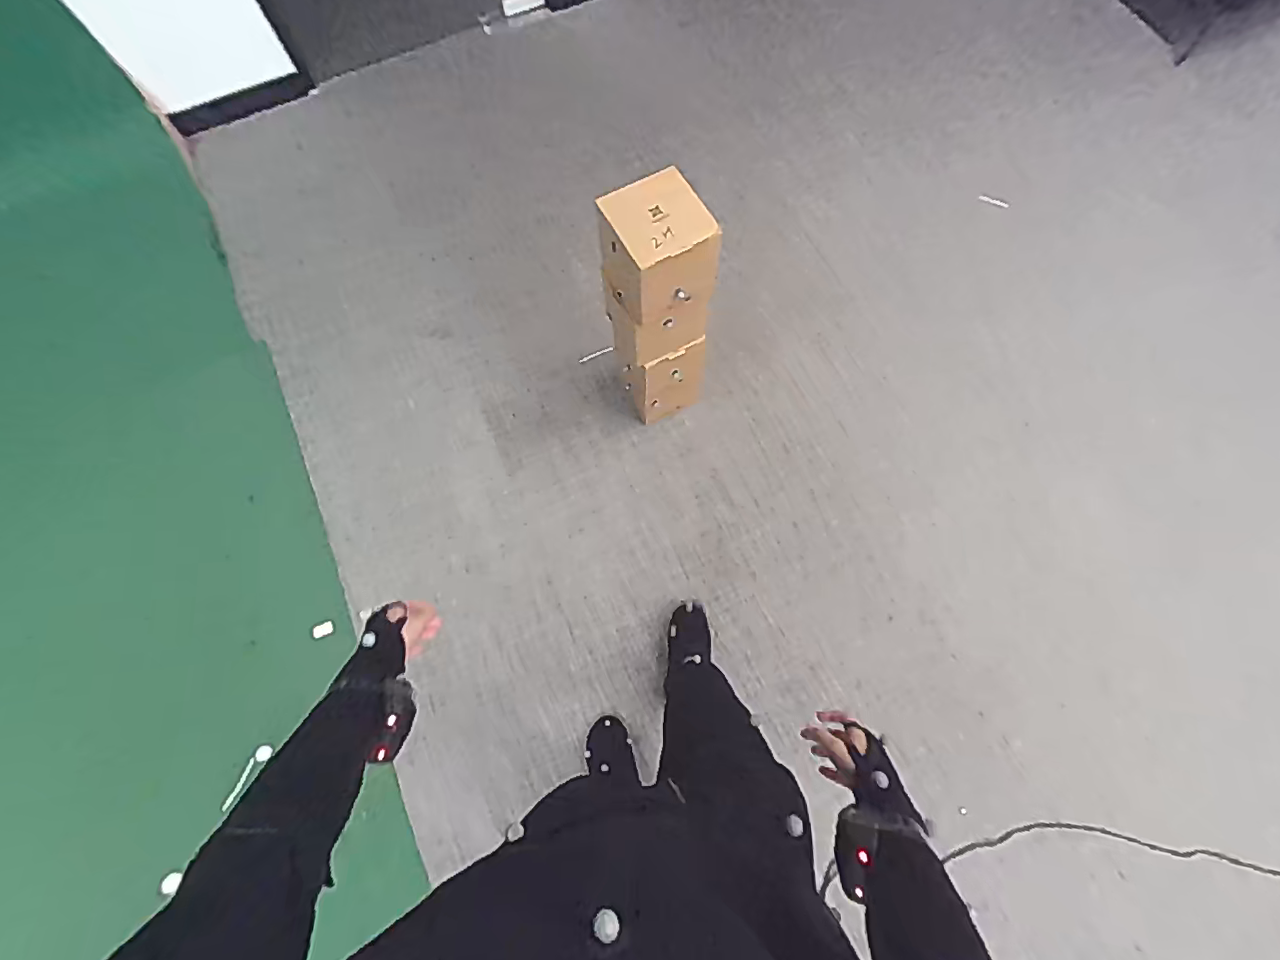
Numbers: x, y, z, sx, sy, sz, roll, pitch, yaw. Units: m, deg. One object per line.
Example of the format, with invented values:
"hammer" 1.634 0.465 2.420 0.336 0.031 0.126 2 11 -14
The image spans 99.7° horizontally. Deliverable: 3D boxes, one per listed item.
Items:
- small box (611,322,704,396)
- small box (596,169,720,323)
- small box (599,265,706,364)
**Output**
"small box" 0.041 -0.330 1.337 0.168 0.176 0.179 -26 74 -8
"small box" 0.030 -0.435 1.025 0.168 0.176 0.179 -27 74 -7
"small box" 0.029 -0.383 1.181 0.179 0.176 0.168 -26 73 -8
